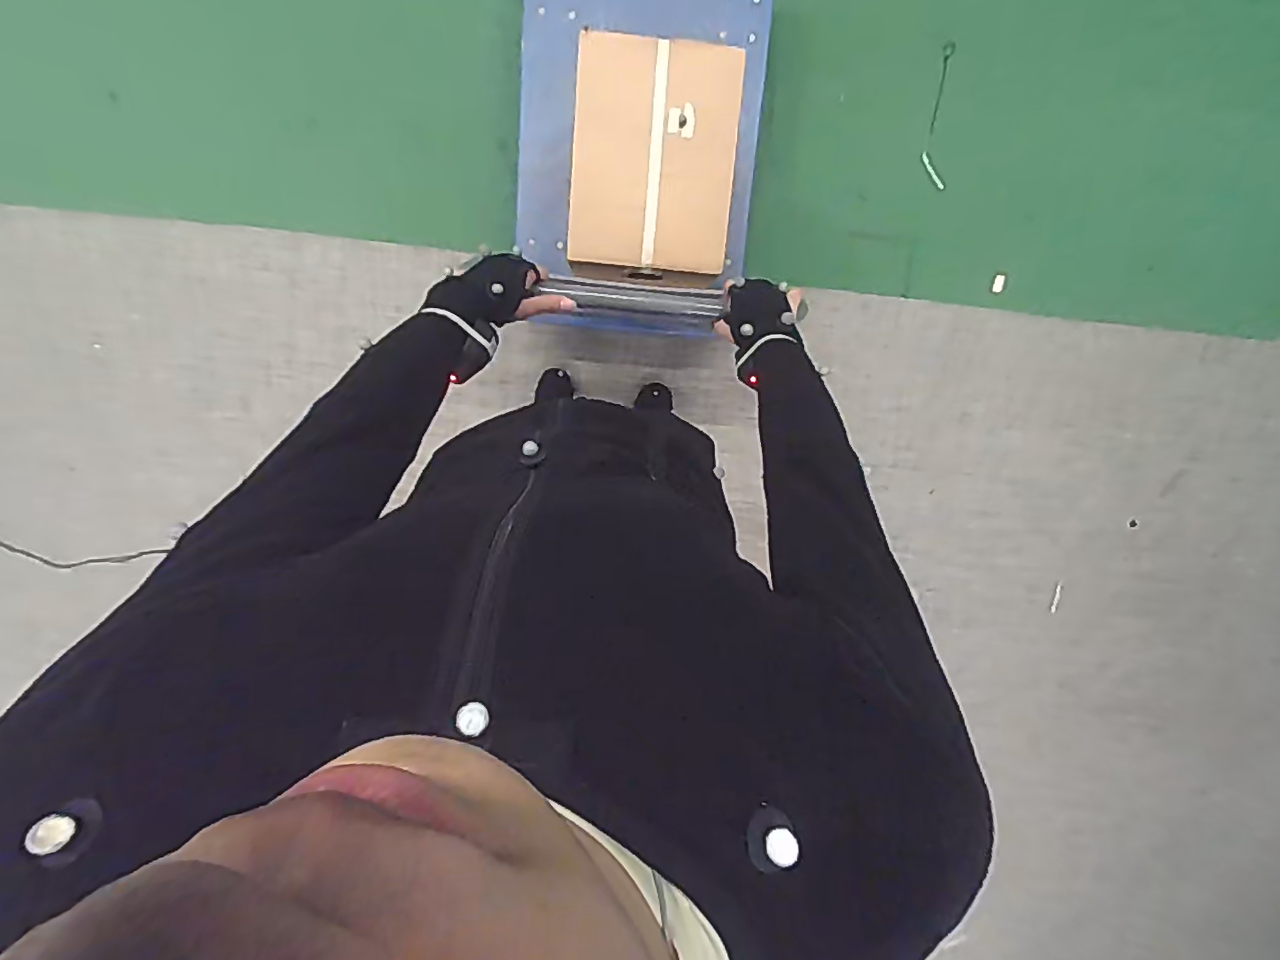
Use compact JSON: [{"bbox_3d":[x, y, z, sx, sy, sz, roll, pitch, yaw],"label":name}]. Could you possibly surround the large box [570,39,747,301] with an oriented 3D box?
[{"bbox_3d":[0.027,-0.626,1.174,0.320,0.320,0.408,5,100,-4],"label":"large box"}]
